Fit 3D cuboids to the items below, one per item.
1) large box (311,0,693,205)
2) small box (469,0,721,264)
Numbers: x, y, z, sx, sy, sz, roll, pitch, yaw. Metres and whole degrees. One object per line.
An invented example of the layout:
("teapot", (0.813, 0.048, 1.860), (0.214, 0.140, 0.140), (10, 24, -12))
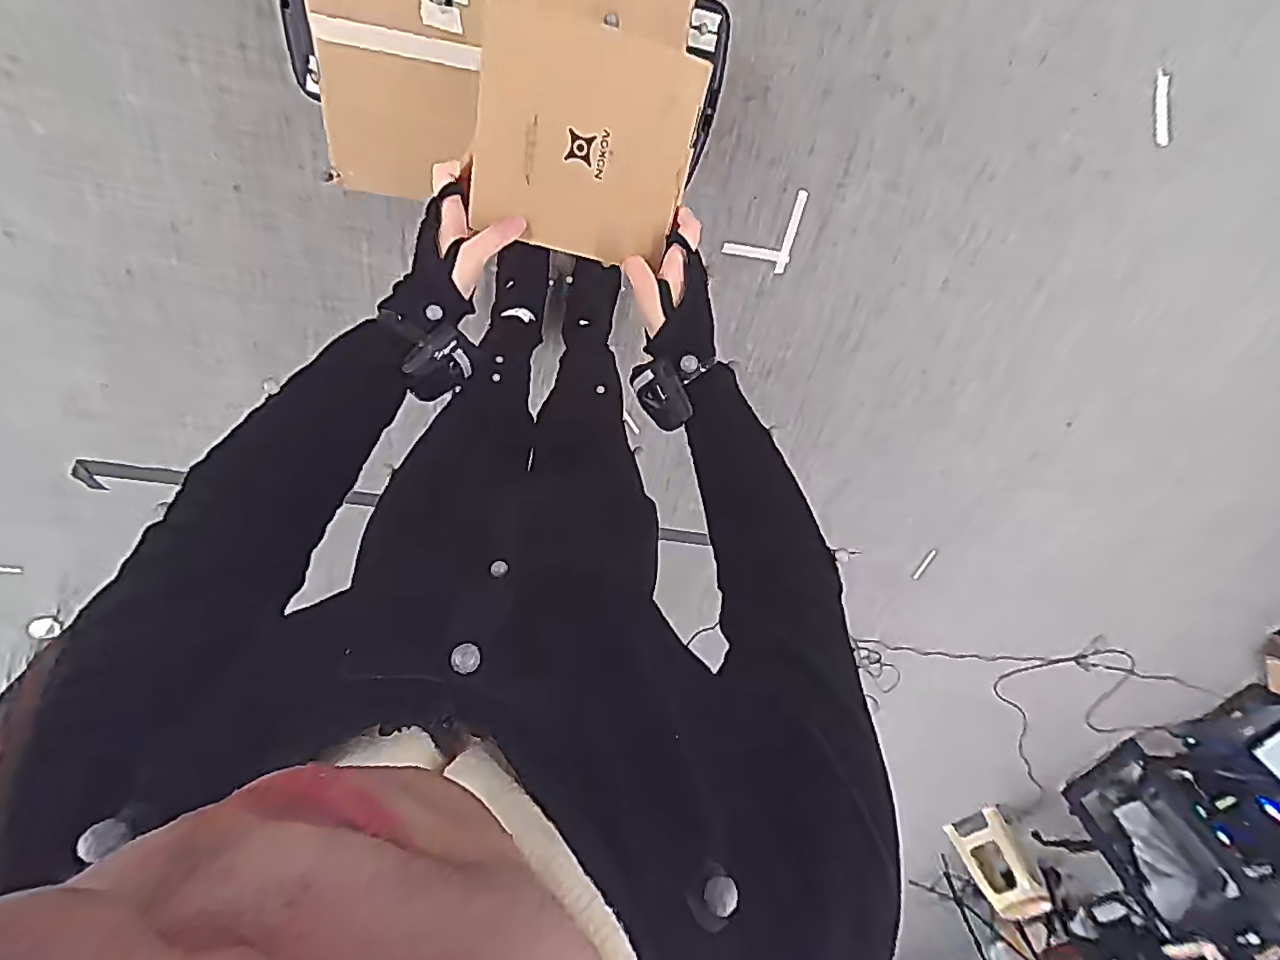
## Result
("large box", (-0.160, -0.556, 0.720), (0.408, 0.320, 0.320), (6, 125, -9))
("small box", (-0.050, -0.321, 0.502), (0.179, 0.176, 0.168), (10, 120, -13))
